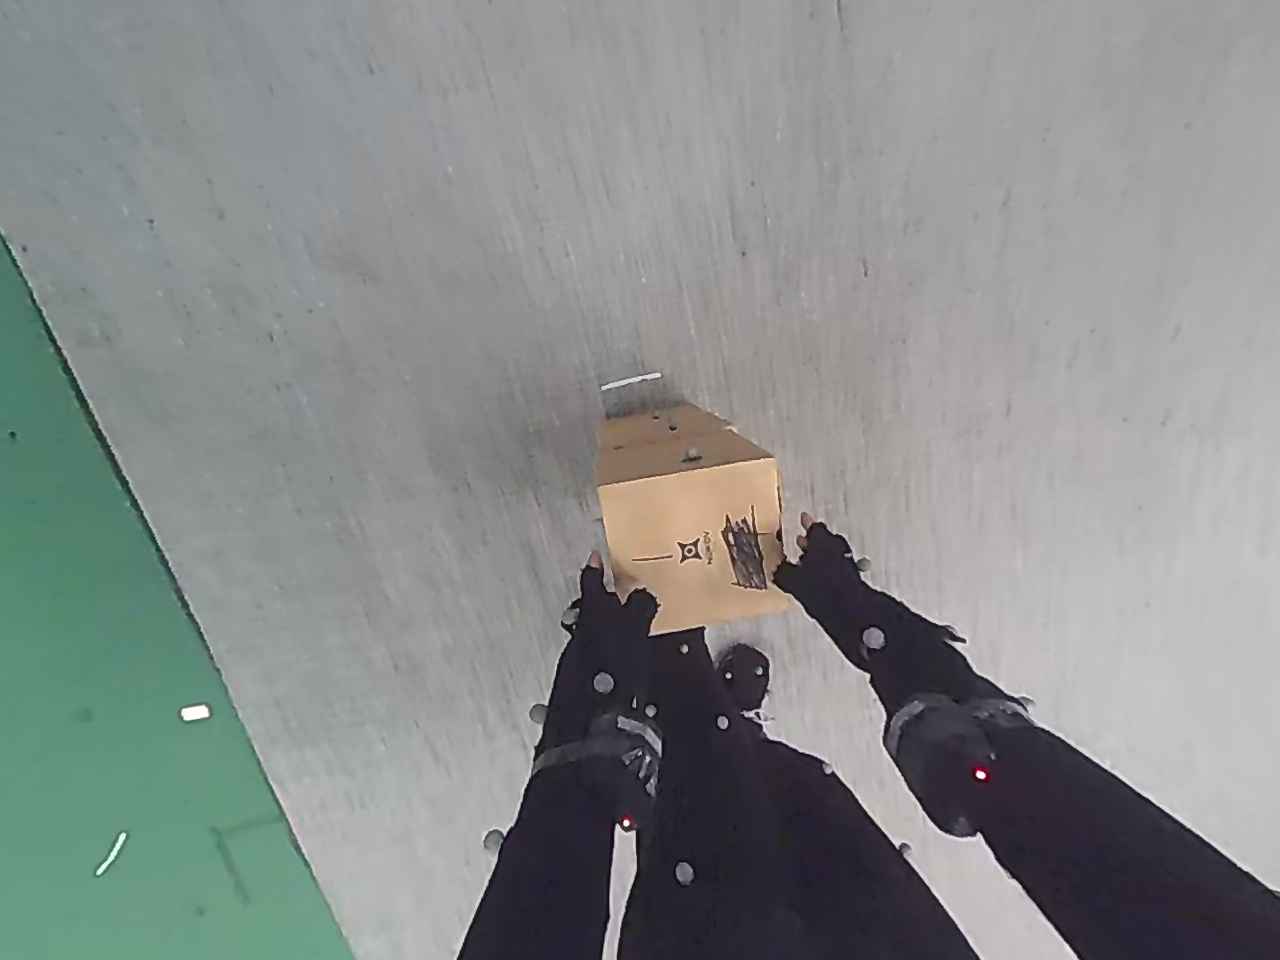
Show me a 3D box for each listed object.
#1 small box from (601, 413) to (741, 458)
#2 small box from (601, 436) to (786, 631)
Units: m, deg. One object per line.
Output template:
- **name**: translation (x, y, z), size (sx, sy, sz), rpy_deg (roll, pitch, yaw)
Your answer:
- **small box**: translation (0.044, 0.004, 0.773), size (0.179, 0.176, 0.168), rpy_deg (-10, 105, -3)
- **small box**: translation (0.051, 0.048, 0.612), size (0.179, 0.176, 0.168), rpy_deg (-7, 103, -3)
